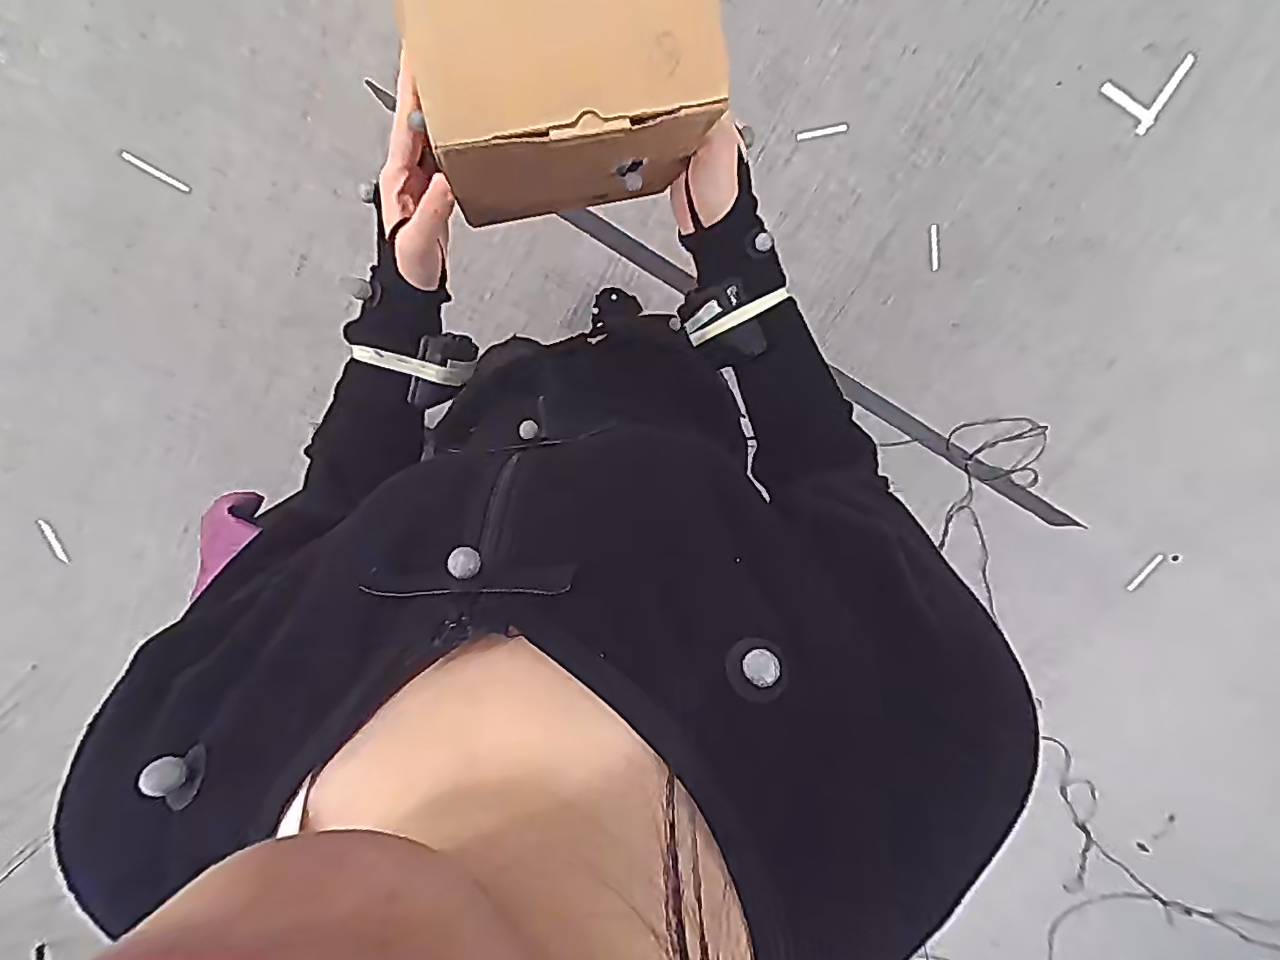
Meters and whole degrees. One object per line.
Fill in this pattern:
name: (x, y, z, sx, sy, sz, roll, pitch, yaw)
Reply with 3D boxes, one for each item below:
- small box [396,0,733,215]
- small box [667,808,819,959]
small box: (-0.058, -0.285, 0.343, 0.168, 0.176, 0.179, -15, 104, -8)
small box: (0.156, 0.687, 0.896, 0.179, 0.176, 0.168, 25, 108, -9)
